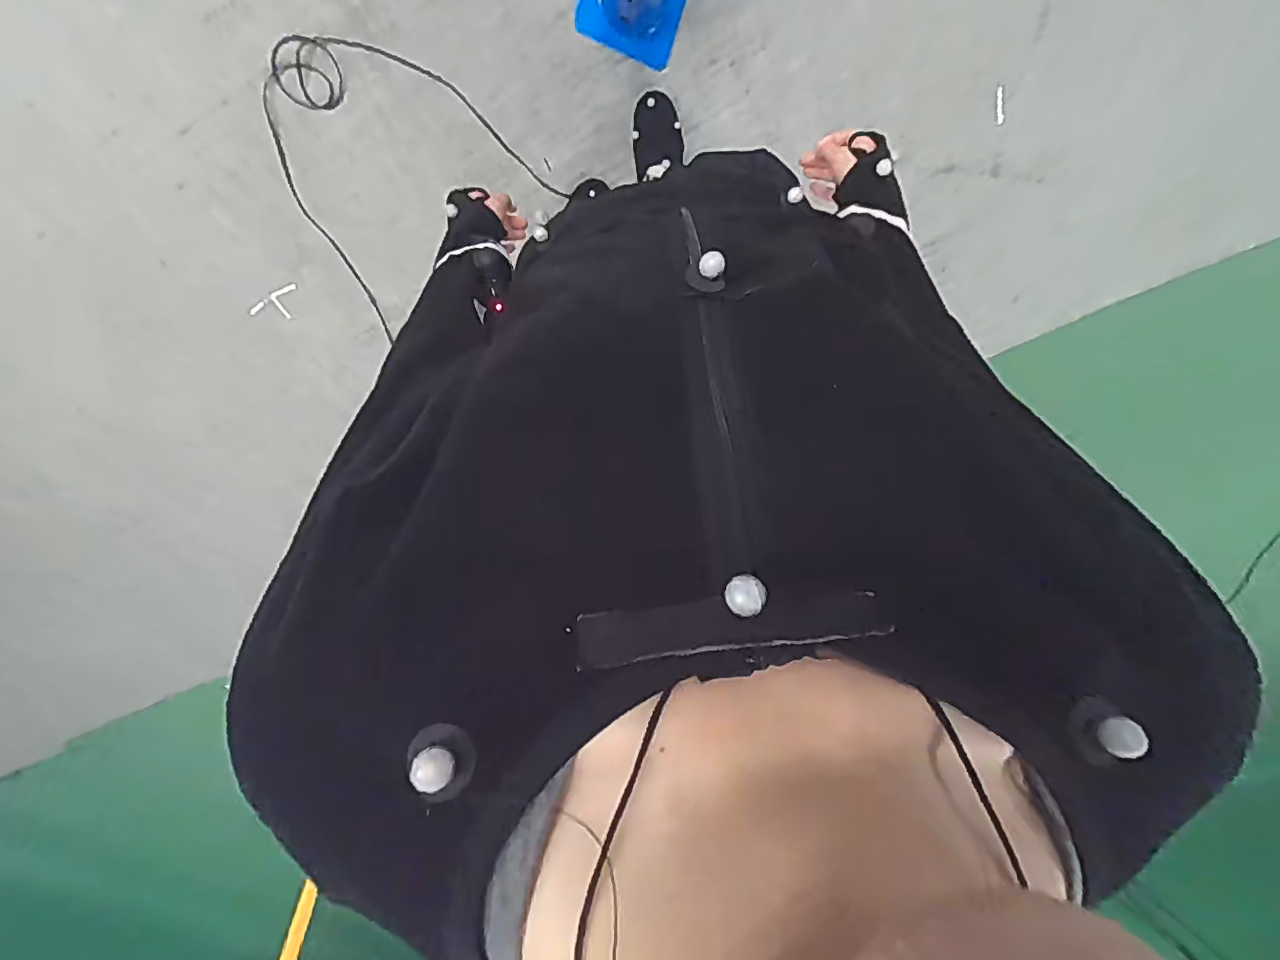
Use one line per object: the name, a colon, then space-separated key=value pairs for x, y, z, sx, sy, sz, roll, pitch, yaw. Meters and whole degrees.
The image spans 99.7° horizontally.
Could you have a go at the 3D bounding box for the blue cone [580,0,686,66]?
blue cone: x=-0.003 y=-0.837 z=0.887 sx=0.192 sy=0.380 sz=0.193 roll=16 pitch=120 yaw=-12
